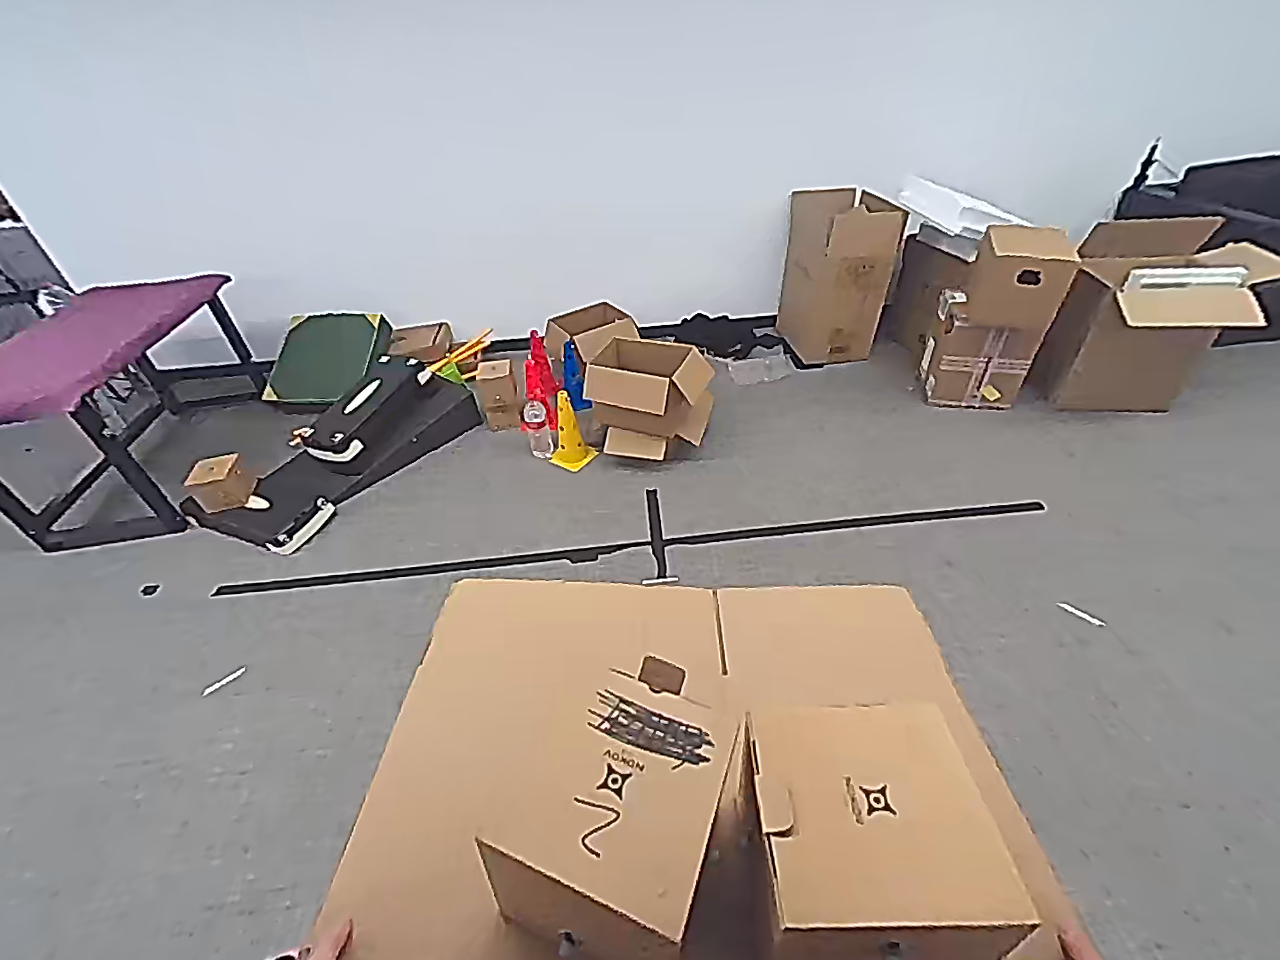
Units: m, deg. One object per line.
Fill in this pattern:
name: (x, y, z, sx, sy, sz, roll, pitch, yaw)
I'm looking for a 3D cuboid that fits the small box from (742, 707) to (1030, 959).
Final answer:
small box: (0.194, 0.329, 0.492, 0.179, 0.176, 0.168, -3, 35, 2)
